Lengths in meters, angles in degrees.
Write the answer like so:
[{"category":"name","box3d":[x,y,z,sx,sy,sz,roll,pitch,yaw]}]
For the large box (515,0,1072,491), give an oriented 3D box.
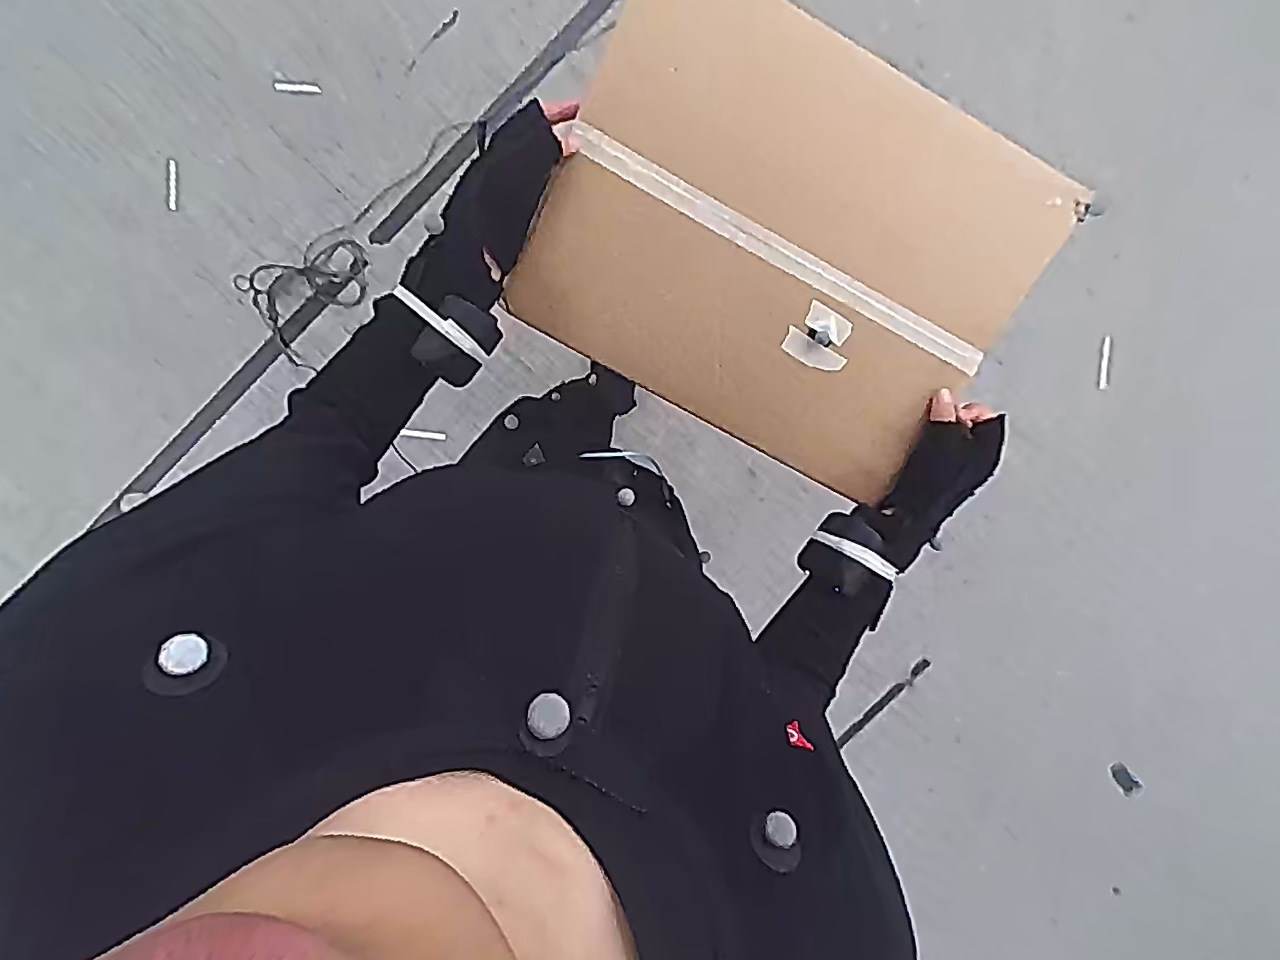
[{"category":"large box","box3d":[0.129,-0.243,0.622,0.408,0.320,0.320,28,105,-6]}]
